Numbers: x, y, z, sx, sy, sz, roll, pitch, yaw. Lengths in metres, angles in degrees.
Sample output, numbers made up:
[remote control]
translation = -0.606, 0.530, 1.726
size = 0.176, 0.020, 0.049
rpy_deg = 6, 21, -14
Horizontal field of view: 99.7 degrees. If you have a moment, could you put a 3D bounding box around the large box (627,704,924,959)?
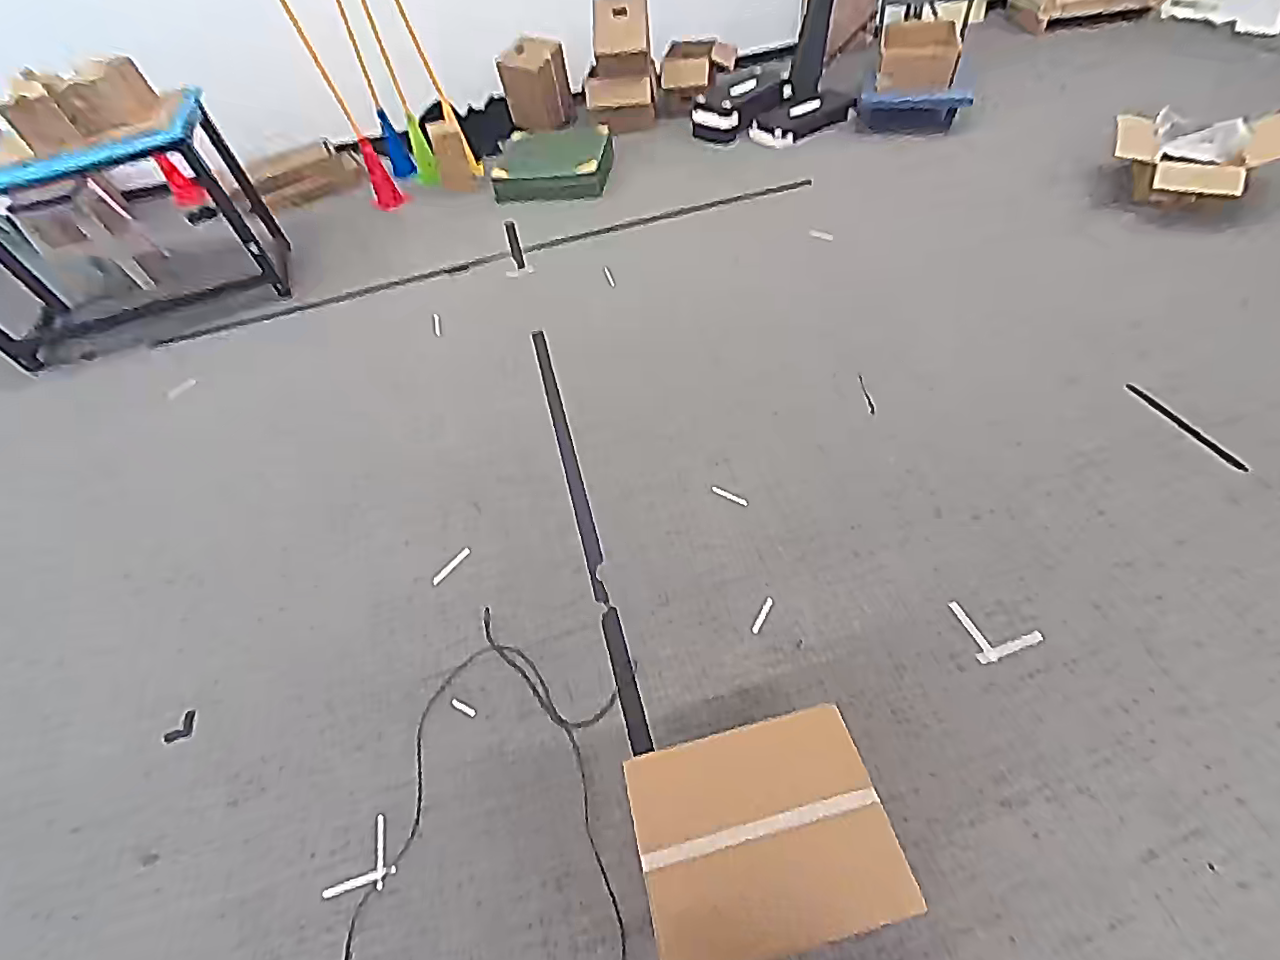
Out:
[large box]
translation = 0.216, 0.668, 1.000
size = 0.408, 0.320, 0.320
rpy_deg = -14, 51, -4
